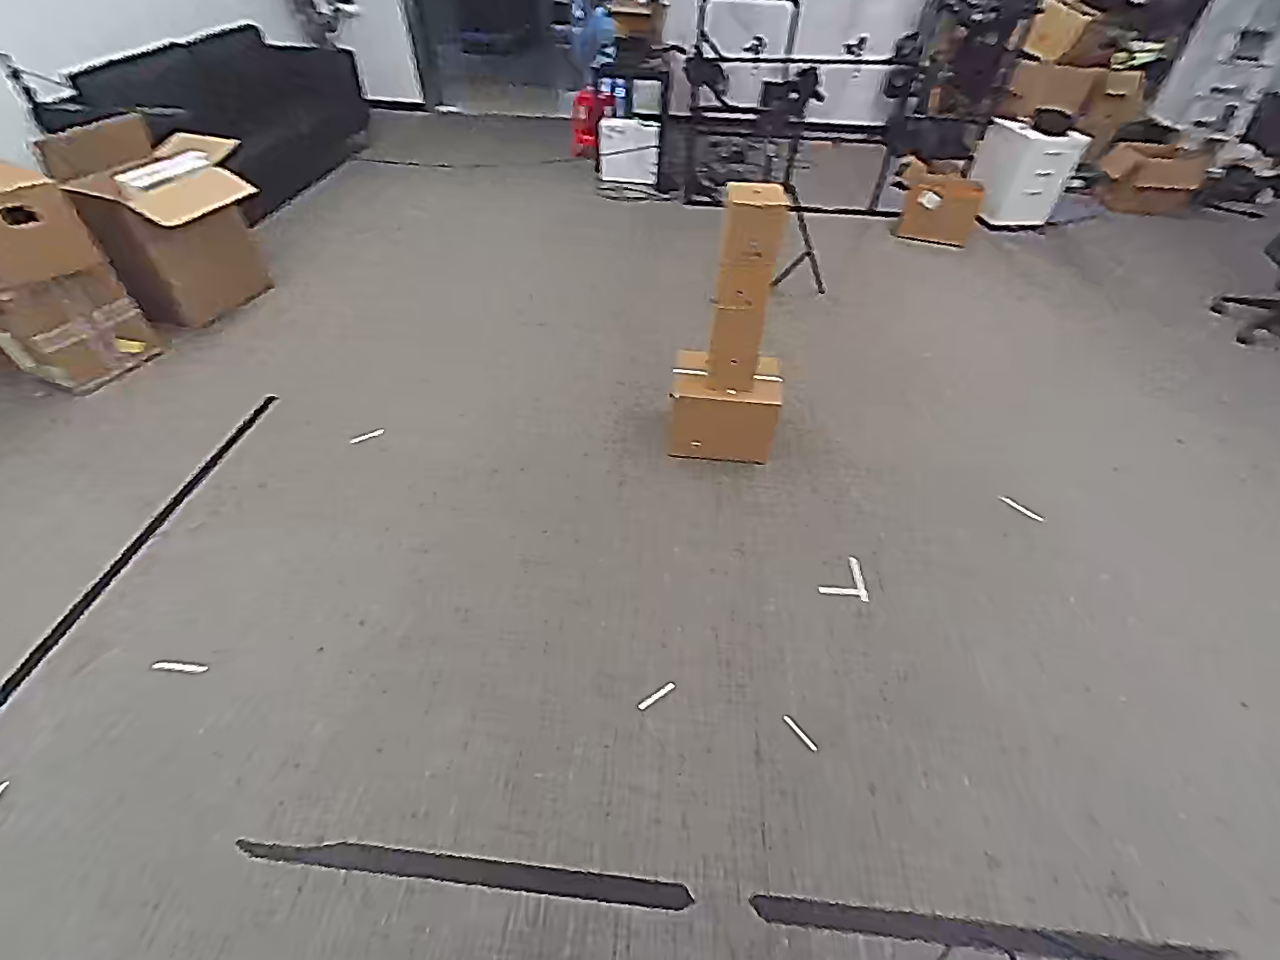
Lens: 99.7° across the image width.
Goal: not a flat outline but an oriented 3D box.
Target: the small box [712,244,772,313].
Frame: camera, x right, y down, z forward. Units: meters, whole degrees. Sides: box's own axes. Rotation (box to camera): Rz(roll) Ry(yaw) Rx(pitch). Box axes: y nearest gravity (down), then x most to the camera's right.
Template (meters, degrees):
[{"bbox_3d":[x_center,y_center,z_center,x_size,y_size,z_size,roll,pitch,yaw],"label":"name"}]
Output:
[{"bbox_3d":[0.330,-0.675,1.791,0.168,0.176,0.179,4,47,1],"label":"small box"}]

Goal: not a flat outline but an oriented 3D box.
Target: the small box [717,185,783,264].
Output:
[{"bbox_3d":[0.334,-0.791,1.674,0.168,0.176,0.179,2,47,1],"label":"small box"}]

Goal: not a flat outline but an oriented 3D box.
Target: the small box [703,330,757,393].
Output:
[{"bbox_3d":[0.330,-0.440,2.018,0.179,0.176,0.168,4,47,0],"label":"small box"}]
